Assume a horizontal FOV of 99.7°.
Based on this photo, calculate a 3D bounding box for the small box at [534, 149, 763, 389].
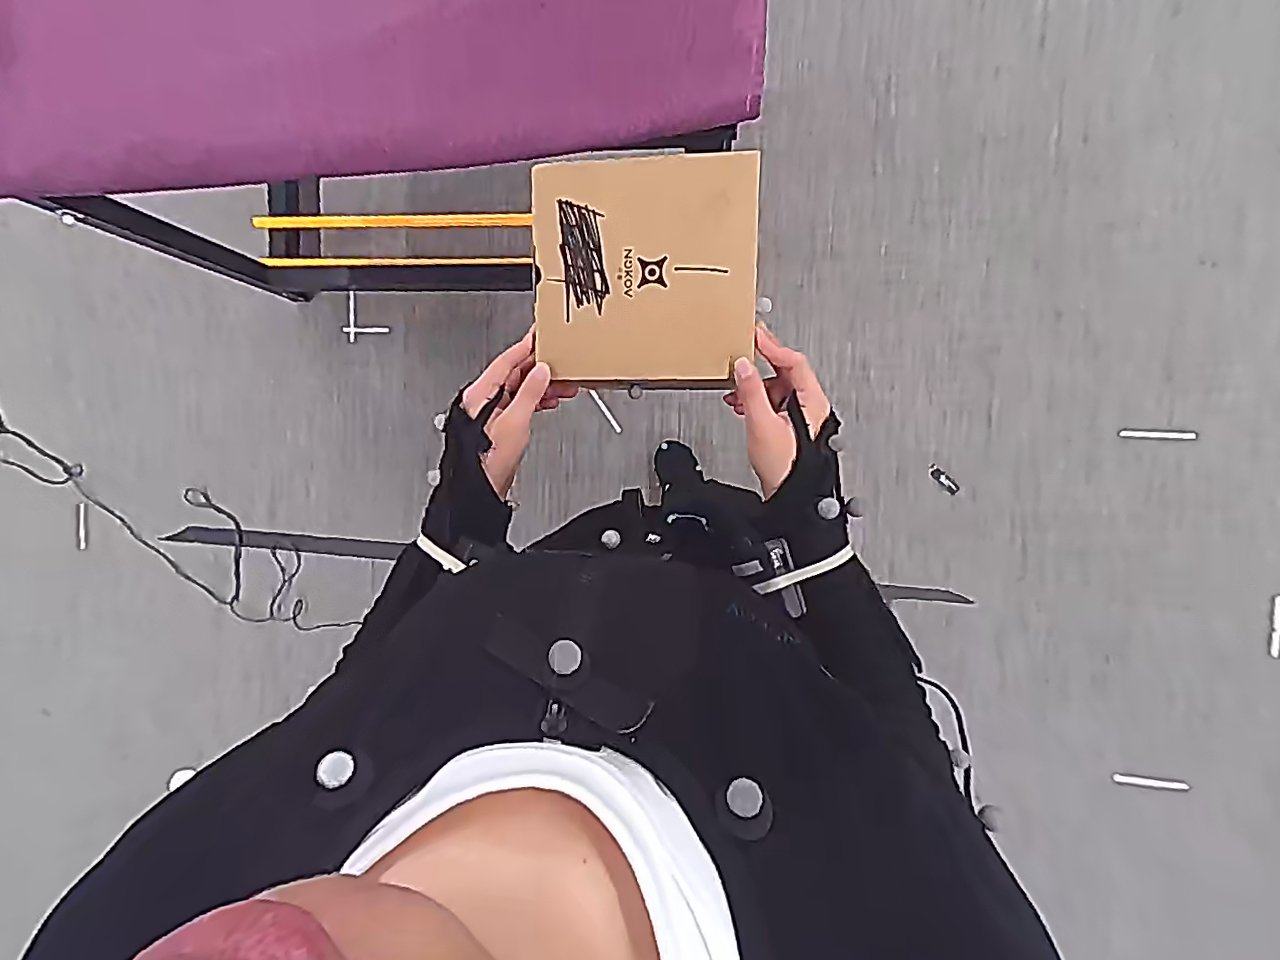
[{"bbox_3d":[0.016,-0.170,0.491,0.179,0.176,0.168,1,97,9],"label":"small box"}]
